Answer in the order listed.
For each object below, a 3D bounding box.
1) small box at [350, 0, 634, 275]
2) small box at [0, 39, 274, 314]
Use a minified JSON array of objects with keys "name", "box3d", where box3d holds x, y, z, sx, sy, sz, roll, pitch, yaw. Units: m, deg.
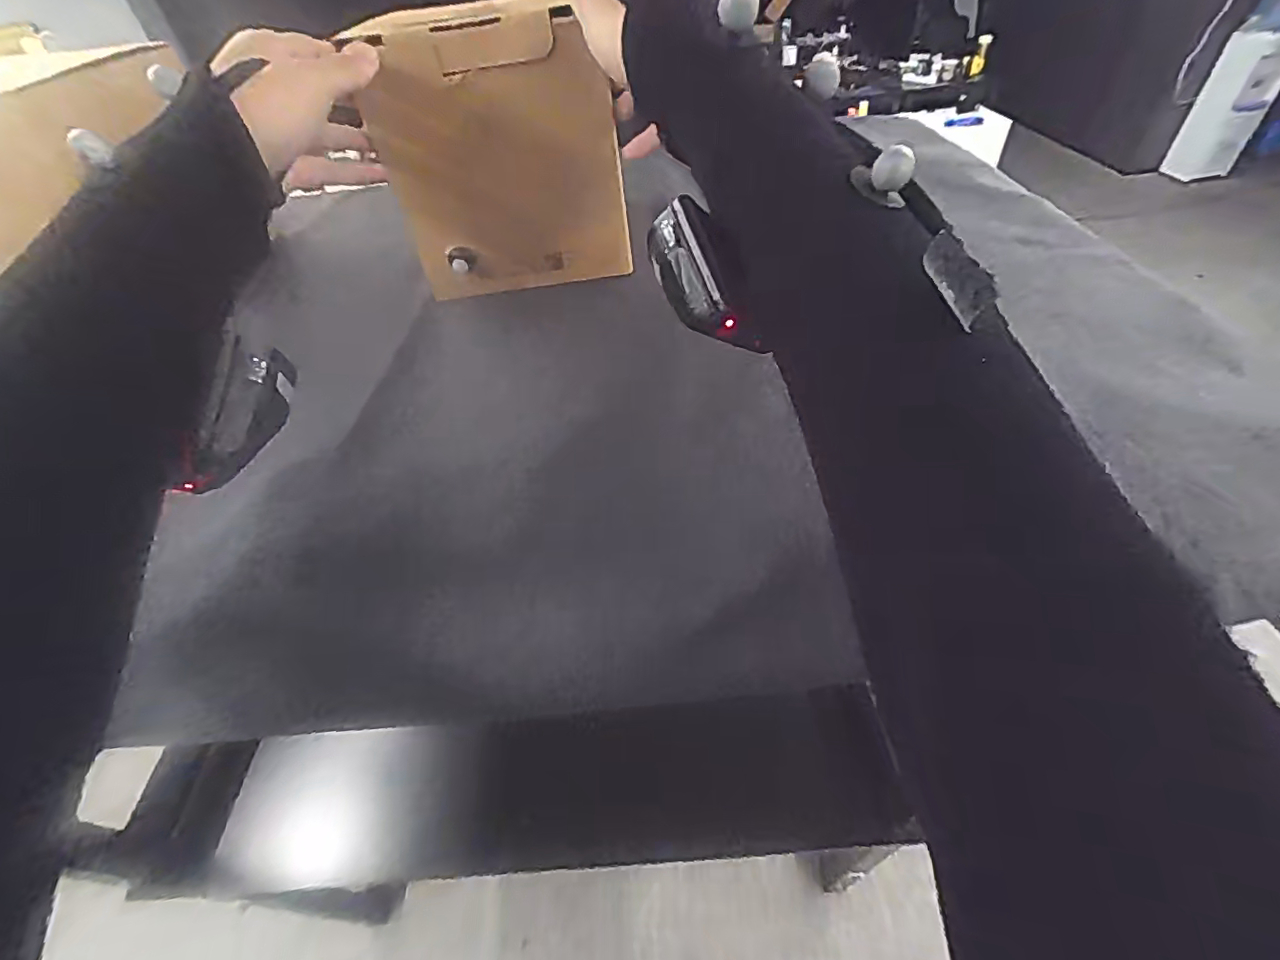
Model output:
[{"name":"small box","box3d":[-0.099,-0.283,0.447,0.168,0.176,0.179,-7,46,1]},{"name":"small box","box3d":[-0.474,-0.267,0.482,0.168,0.176,0.179,-2,46,5]}]
